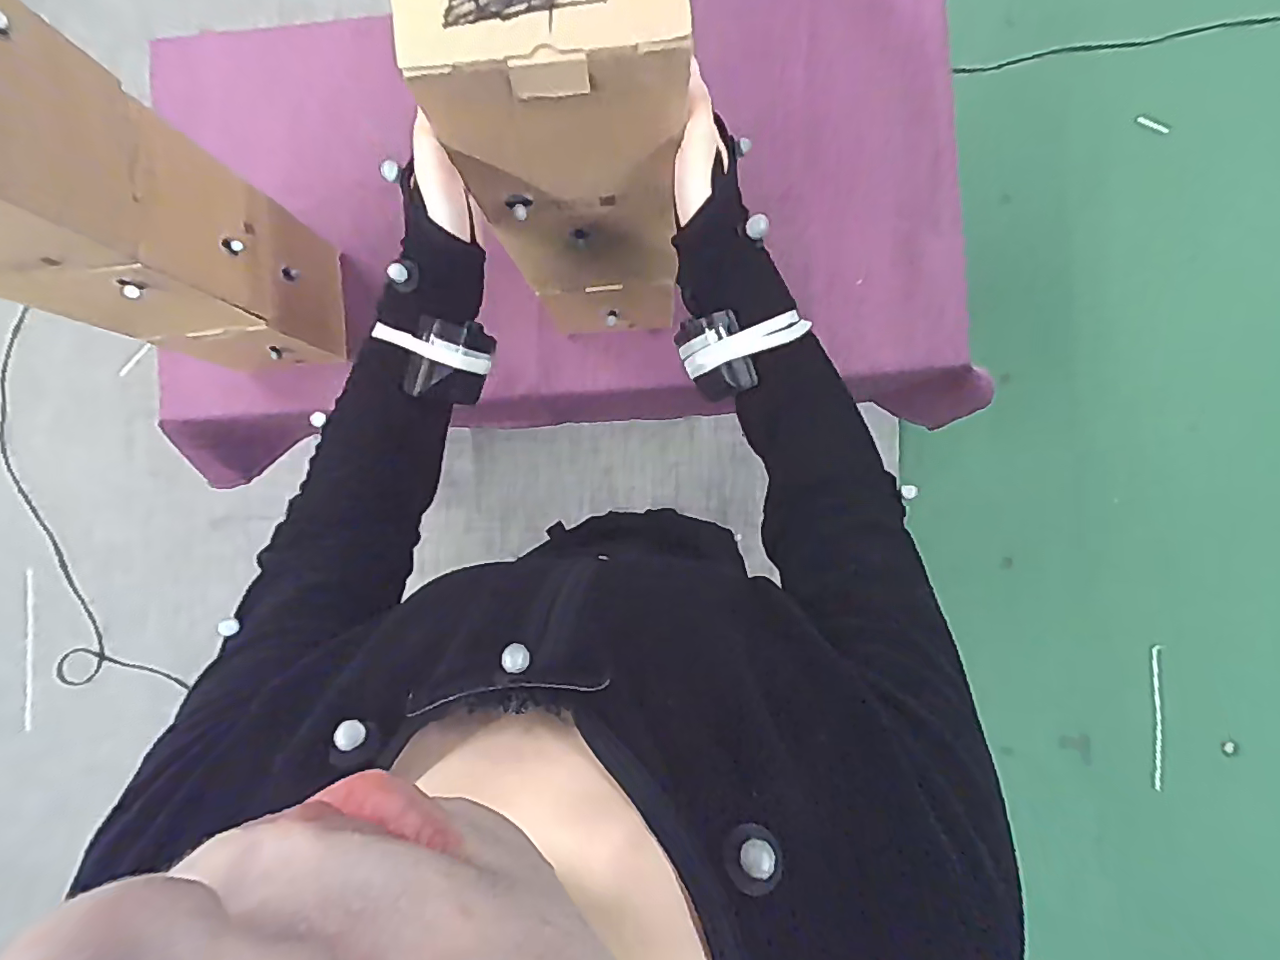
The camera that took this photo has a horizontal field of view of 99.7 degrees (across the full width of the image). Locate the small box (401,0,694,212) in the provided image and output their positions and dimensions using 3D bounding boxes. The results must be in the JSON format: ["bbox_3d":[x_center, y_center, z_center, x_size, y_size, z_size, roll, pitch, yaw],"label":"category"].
[{"bbox_3d":[-0.054,-0.312,0.383,0.168,0.176,0.179,-5,88,0],"label":"small box"}]

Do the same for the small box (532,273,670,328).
[{"bbox_3d":[-0.046,-0.308,0.716,0.168,0.176,0.179,-3,89,2],"label":"small box"}]

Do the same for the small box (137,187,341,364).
[{"bbox_3d":[-0.533,-0.263,0.737,0.168,0.176,0.179,-4,88,1],"label":"small box"}]

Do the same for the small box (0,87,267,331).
[{"bbox_3d":[-0.544,-0.268,0.575,0.179,0.176,0.168,-6,88,1],"label":"small box"}]

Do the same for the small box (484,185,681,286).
[{"bbox_3d":[-0.050,-0.311,0.551,0.179,0.176,0.168,-4,89,2],"label":"small box"}]
